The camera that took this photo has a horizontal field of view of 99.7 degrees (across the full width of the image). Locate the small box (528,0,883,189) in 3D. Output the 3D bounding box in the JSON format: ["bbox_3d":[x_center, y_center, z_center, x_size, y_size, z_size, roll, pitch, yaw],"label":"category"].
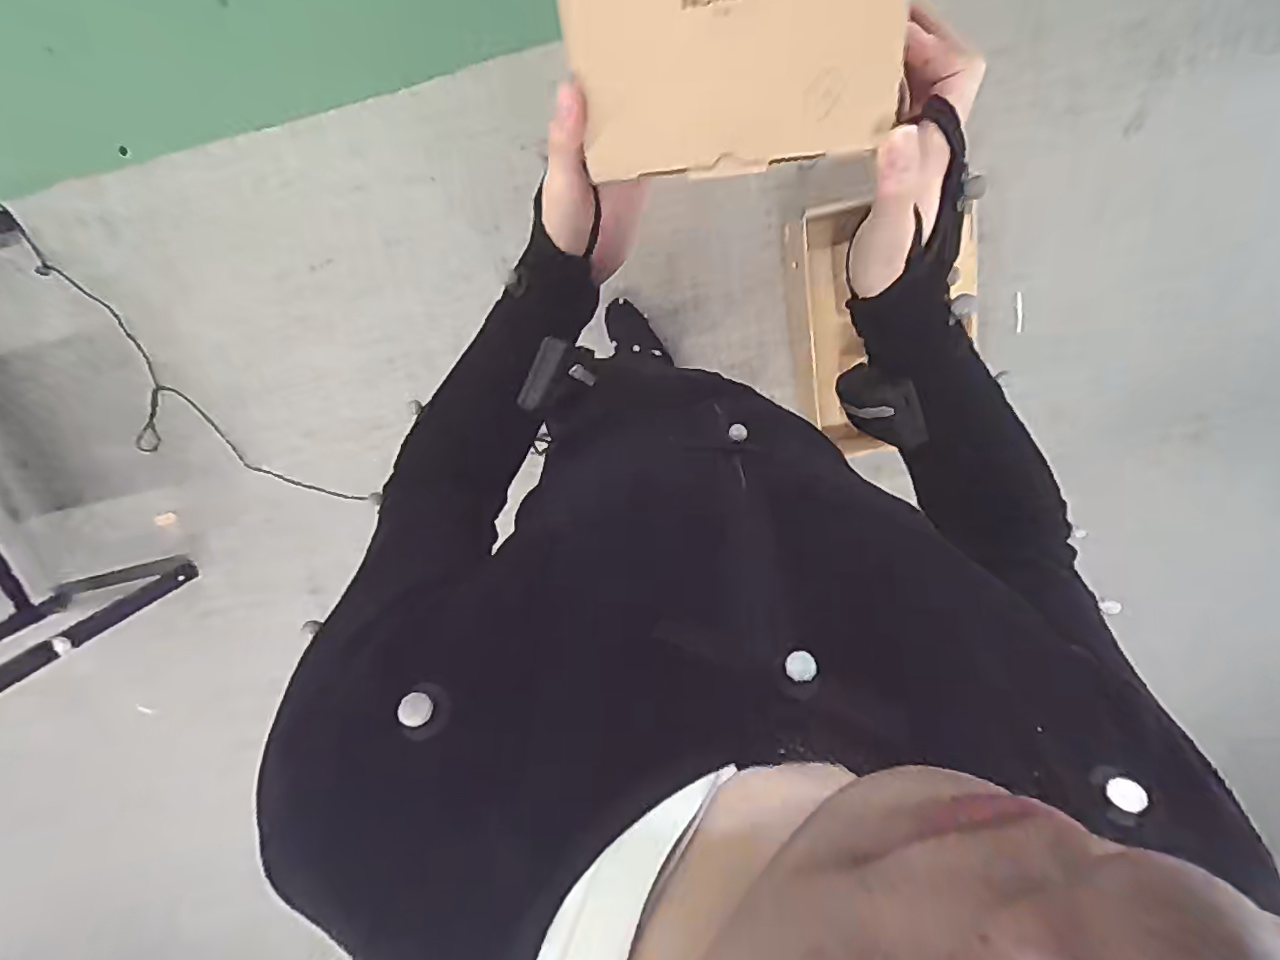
[{"bbox_3d":[0.047,-0.283,0.301,0.168,0.176,0.179,6,130,21],"label":"small box"}]

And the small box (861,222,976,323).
[{"bbox_3d":[0.599,-0.446,1.186,0.179,0.176,0.168,-13,107,7],"label":"small box"}]

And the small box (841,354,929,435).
[{"bbox_3d":[0.636,-0.228,1.419,0.168,0.176,0.179,-6,106,5],"label":"small box"}]
